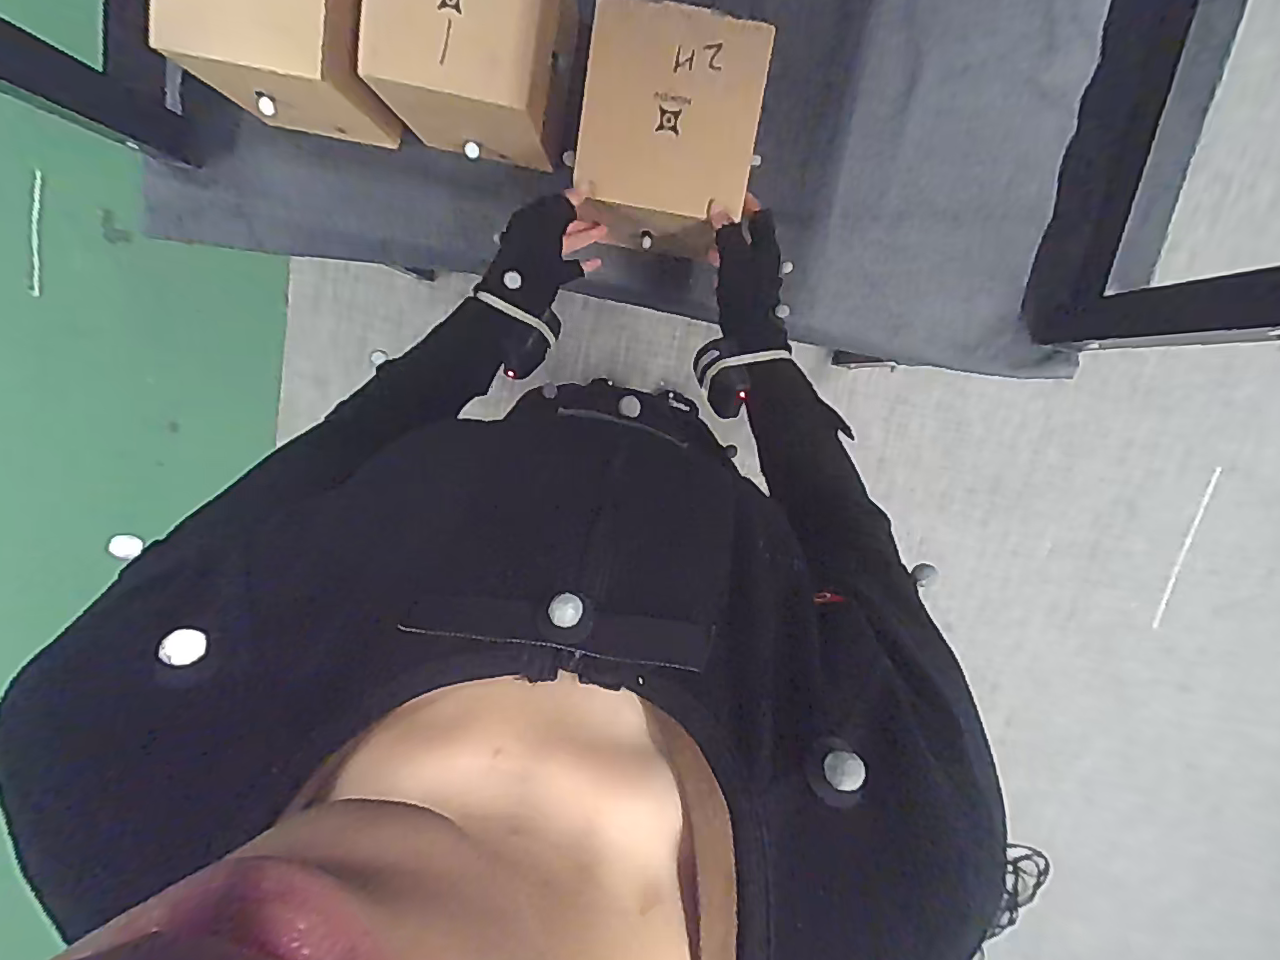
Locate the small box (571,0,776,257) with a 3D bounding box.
[{"bbox_3d":[0.027,-0.353,0.576,0.168,0.176,0.179,9,100,-3],"label":"small box"}]

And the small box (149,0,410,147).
[{"bbox_3d":[-0.363,-0.488,0.573,0.168,0.176,0.179,10,100,-1],"label":"small box"}]
